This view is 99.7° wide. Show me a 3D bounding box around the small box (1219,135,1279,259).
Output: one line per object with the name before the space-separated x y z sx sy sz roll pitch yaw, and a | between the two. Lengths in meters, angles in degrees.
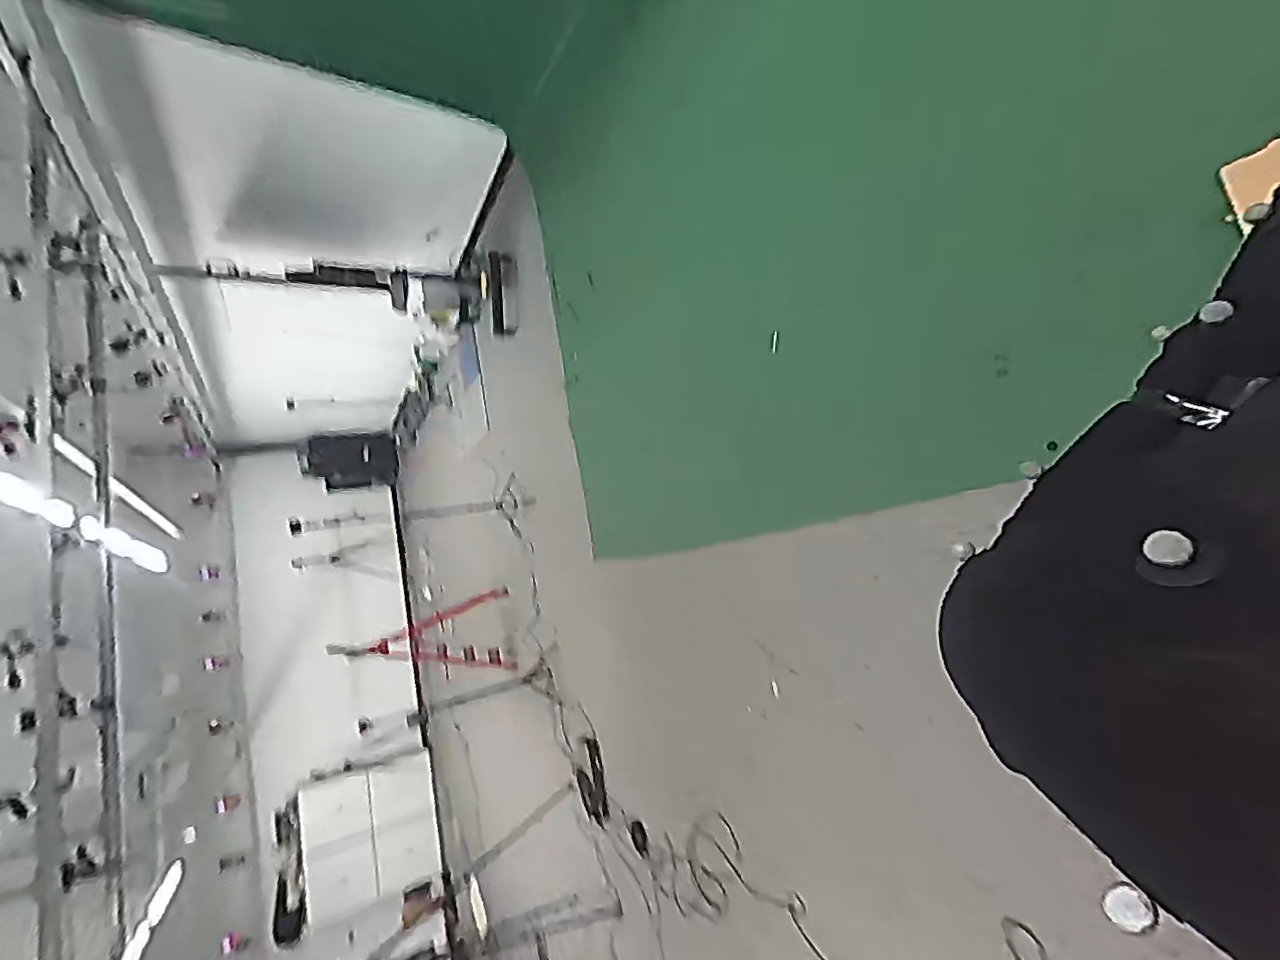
small box | 1.131 -0.488 0.900 0.168 0.176 0.179 -25 73 57
